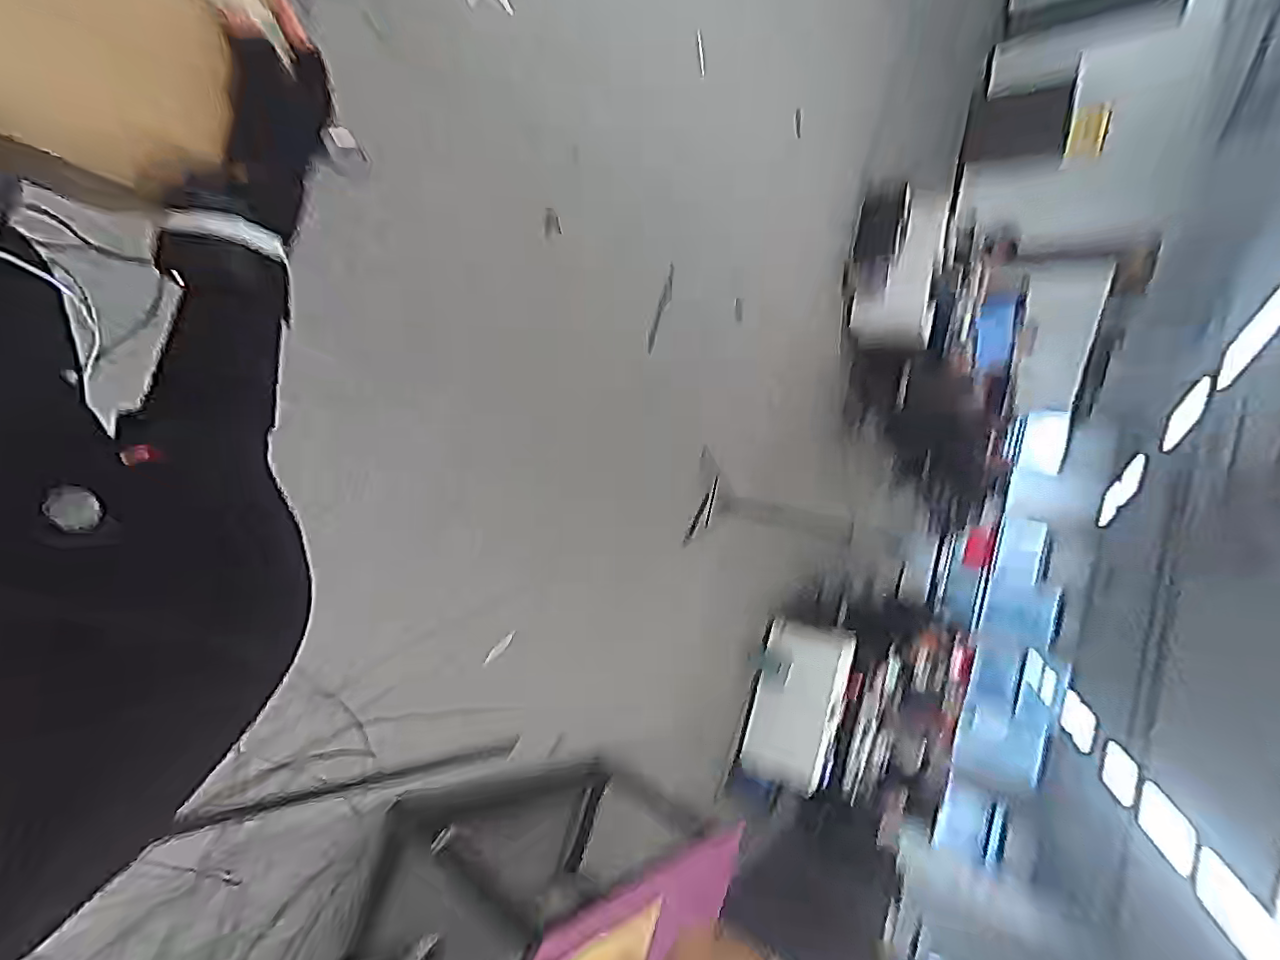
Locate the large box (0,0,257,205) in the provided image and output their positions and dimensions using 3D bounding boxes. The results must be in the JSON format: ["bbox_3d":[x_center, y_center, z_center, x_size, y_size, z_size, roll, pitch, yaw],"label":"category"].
[{"bbox_3d":[-0.528,-0.423,0.336,0.408,0.320,0.320,11,98,-58],"label":"large box"}]
